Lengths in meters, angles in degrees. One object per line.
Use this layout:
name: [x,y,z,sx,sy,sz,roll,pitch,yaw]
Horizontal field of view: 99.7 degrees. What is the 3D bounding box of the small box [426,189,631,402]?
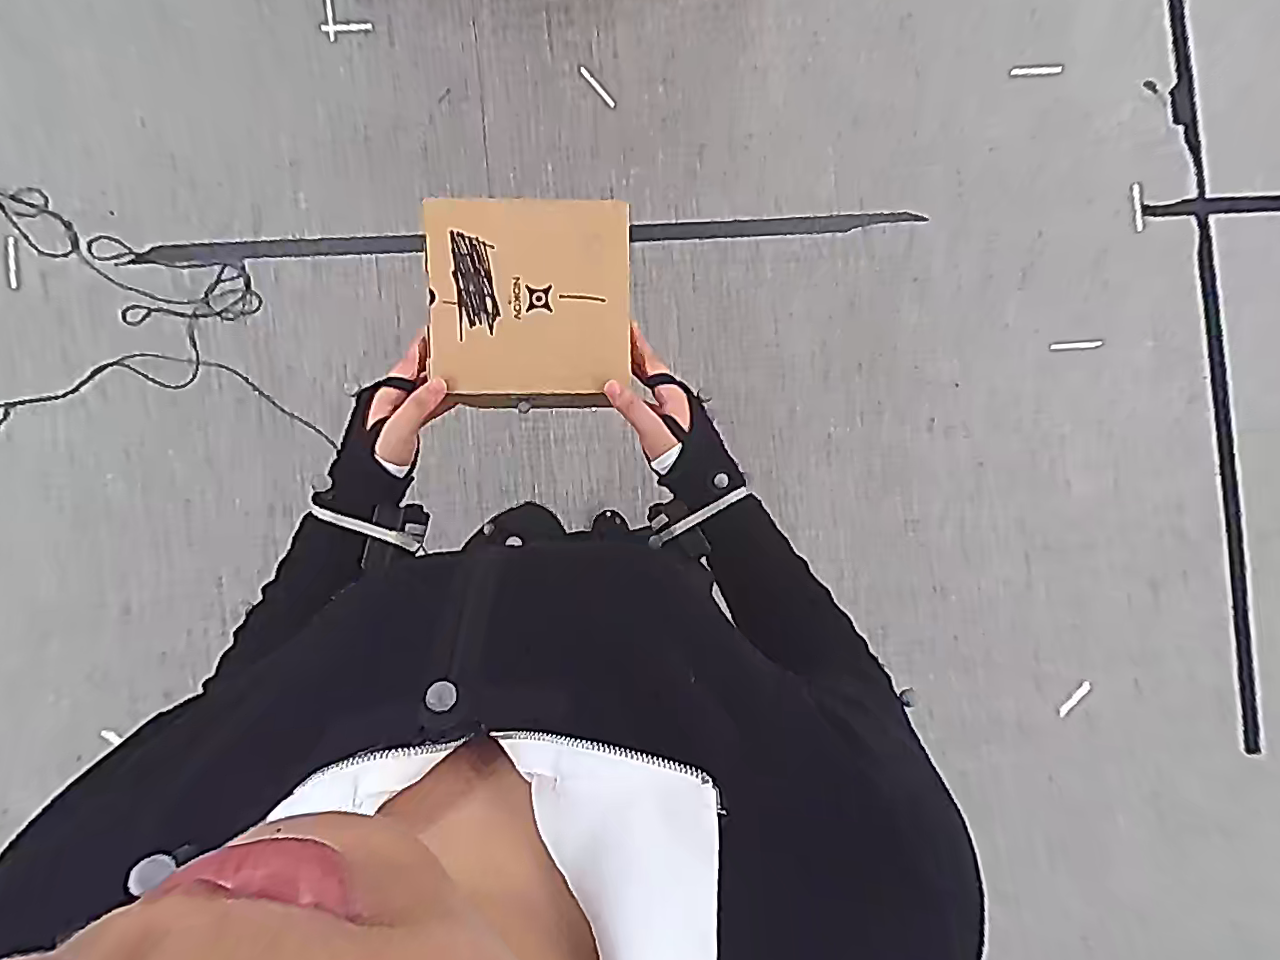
small box: [-0.099,-0.169,0.546,0.179,0.176,0.168,-1,93,-4]
